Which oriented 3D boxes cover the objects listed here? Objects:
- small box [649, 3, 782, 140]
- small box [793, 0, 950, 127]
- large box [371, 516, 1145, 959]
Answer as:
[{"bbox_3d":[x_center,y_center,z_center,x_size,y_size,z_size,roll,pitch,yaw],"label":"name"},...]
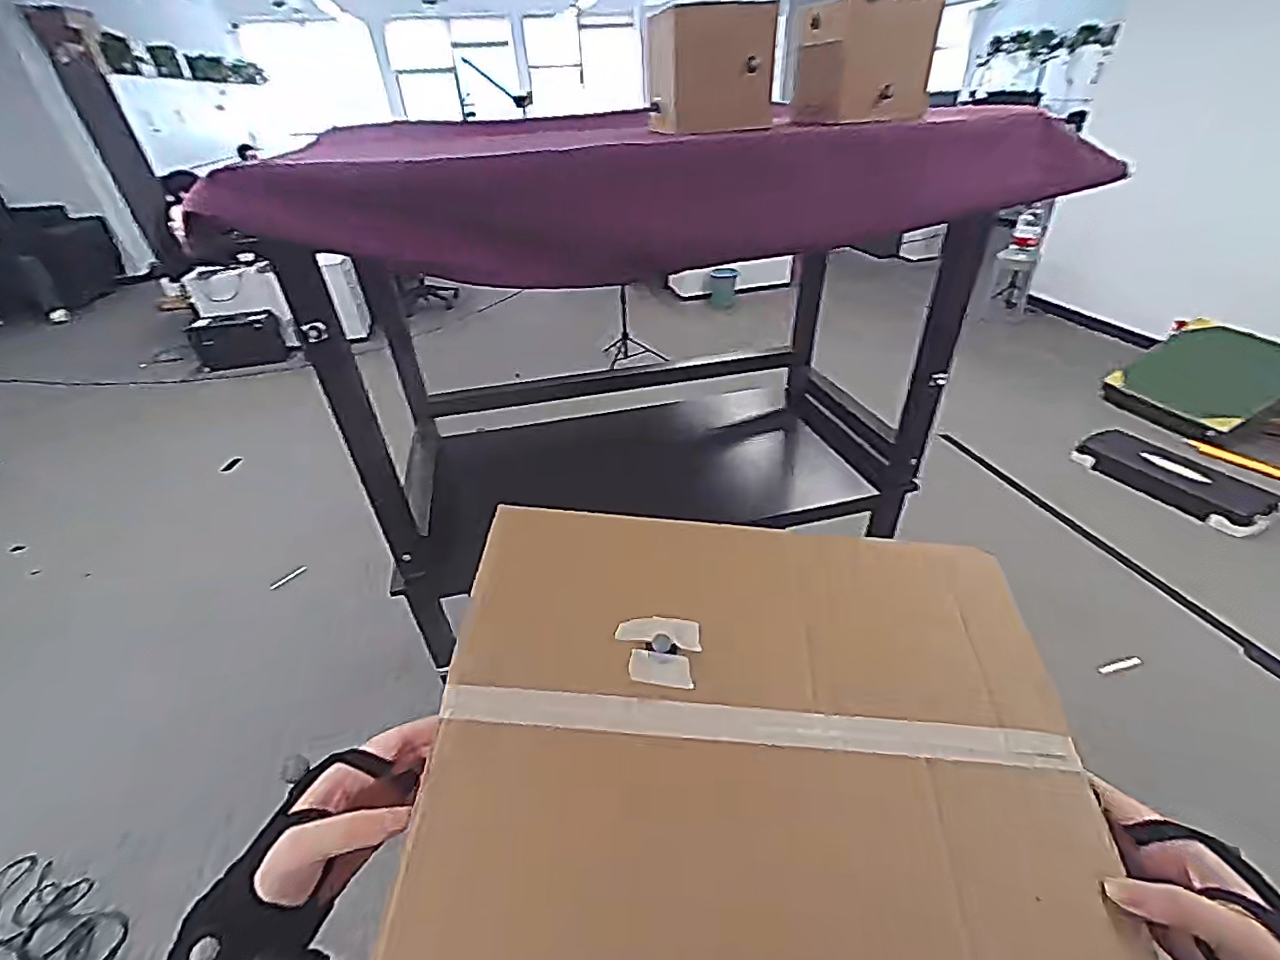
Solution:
[{"bbox_3d":[0.120,-0.688,0.920,0.179,0.176,0.168,-11,35,-9],"label":"small box"},{"bbox_3d":[0.386,-0.719,0.935,0.179,0.176,0.168,-11,35,-11],"label":"small box"},{"bbox_3d":[0.066,0.250,0.458,0.408,0.320,0.320,4,51,0],"label":"large box"}]
